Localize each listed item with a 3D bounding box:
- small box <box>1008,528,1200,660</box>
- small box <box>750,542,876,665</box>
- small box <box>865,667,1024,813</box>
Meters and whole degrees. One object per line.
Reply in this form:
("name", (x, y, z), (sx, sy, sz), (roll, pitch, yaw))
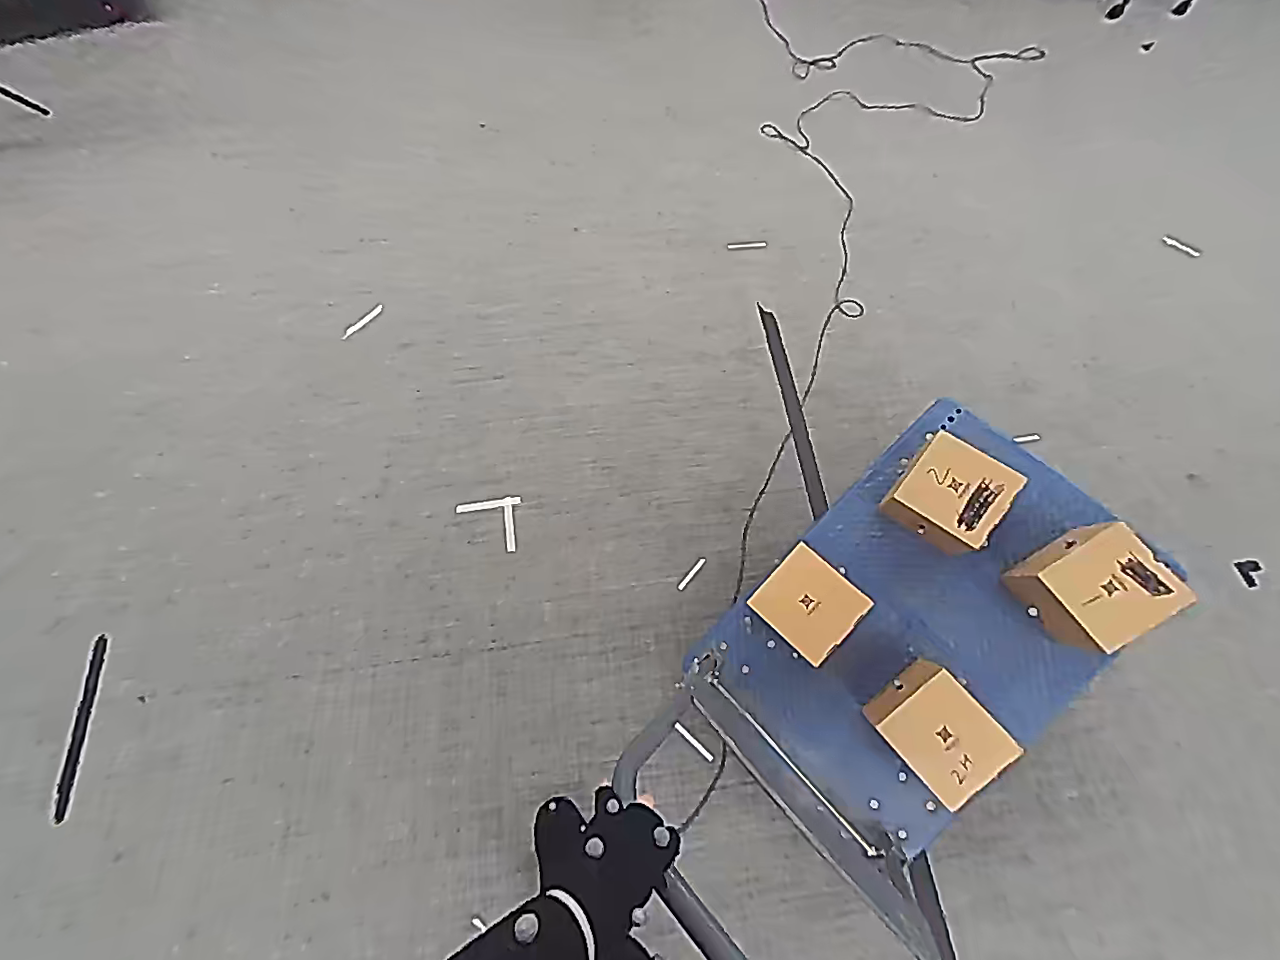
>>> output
("small box", (0.841, 0.209, 1.006), (0.179, 0.176, 0.168), (-34, 73, 5))
("small box", (0.344, 0.252, 1.112), (0.179, 0.176, 0.168), (43, 90, 16))
("small box", (0.552, 0.471, 1.015), (0.168, 0.176, 0.179), (-40, 72, 2))
